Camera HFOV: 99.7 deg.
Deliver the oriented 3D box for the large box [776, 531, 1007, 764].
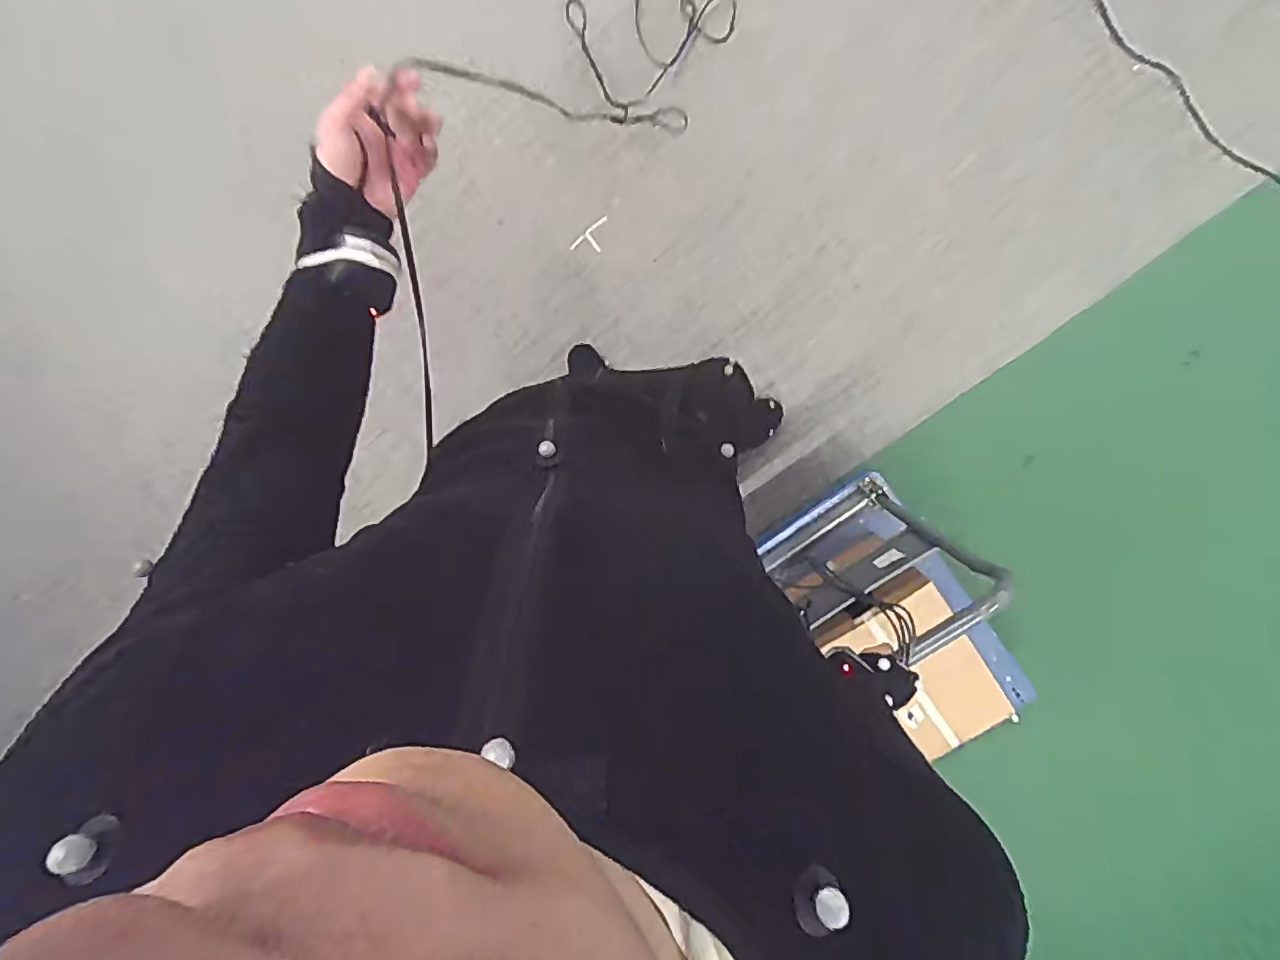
[{"bbox_3d":[0.611,0.407,1.376,0.320,0.320,0.408,-34,102,10],"label":"large box"}]
